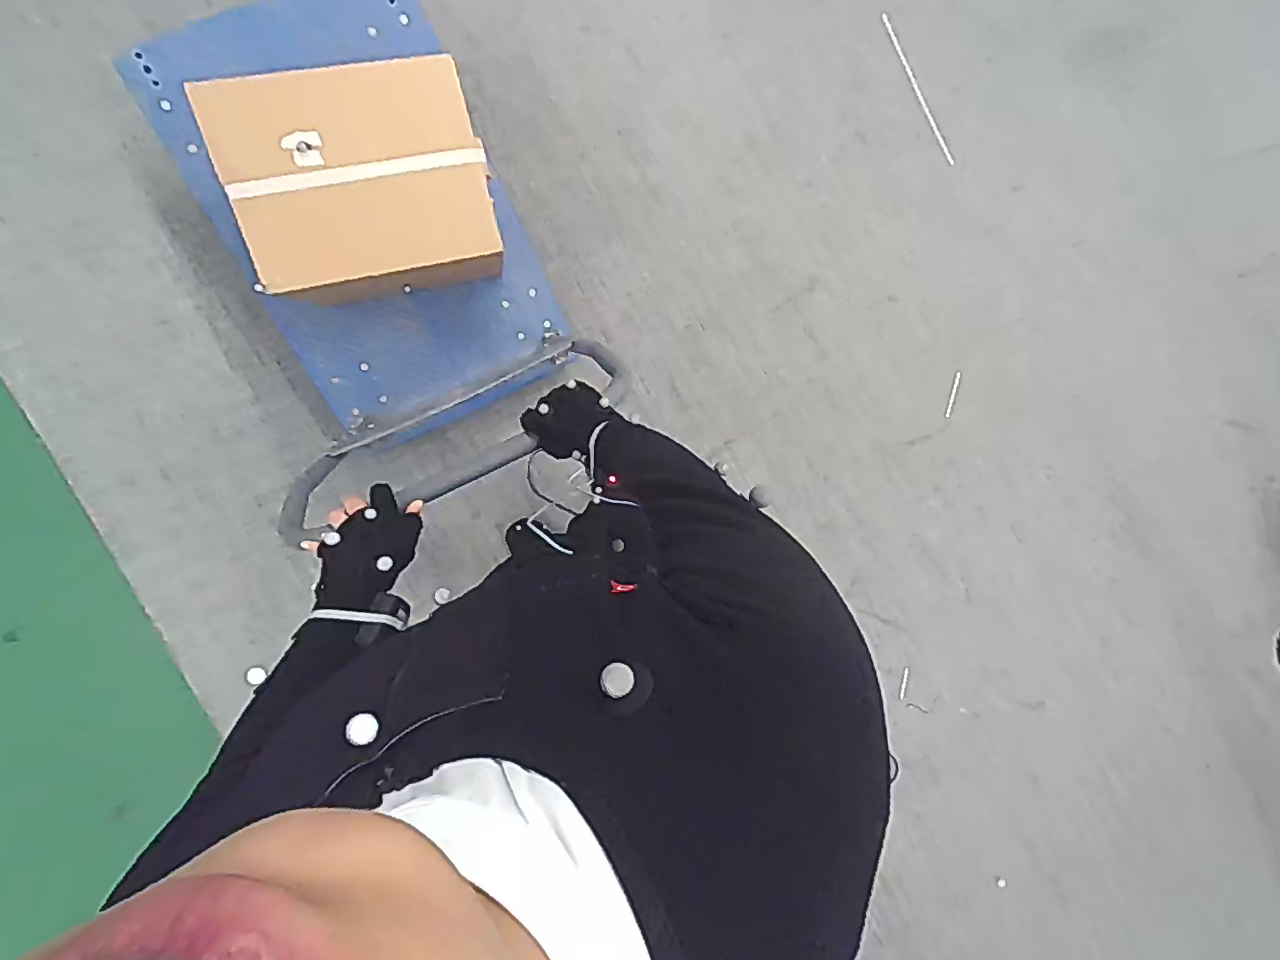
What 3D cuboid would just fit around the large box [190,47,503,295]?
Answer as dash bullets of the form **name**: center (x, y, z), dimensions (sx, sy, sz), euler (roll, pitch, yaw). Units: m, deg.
- **large box**: center (-0.501, -0.556, 1.036), dimensions (0.408, 0.320, 0.320), euler (-15, 107, -10)
